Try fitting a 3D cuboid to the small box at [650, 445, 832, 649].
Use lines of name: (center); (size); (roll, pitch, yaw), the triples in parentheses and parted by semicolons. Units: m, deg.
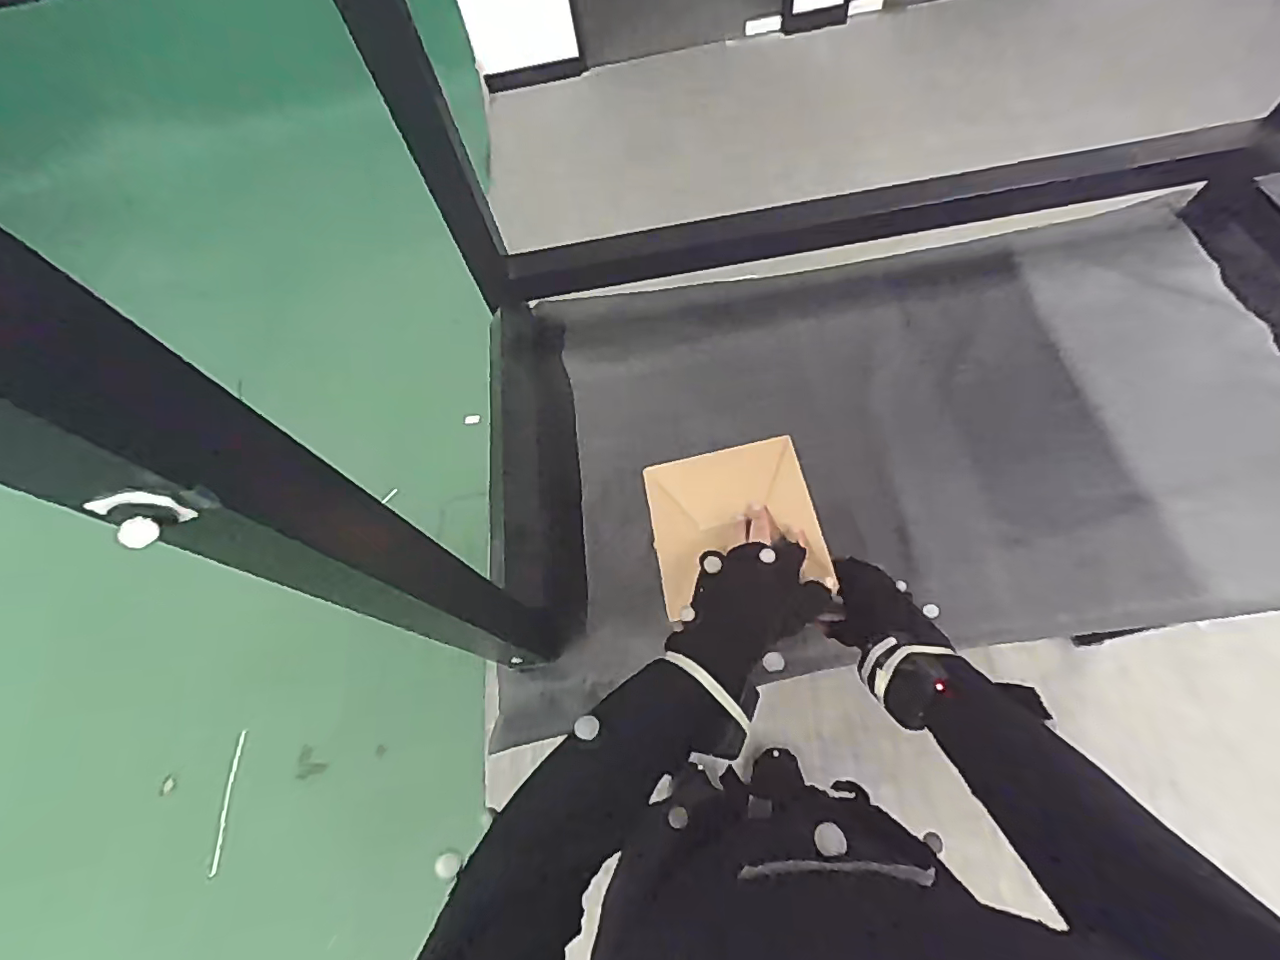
small box: (0.112, 0.082, 0.632); (0.168, 0.176, 0.179); (-13, 62, 5)
